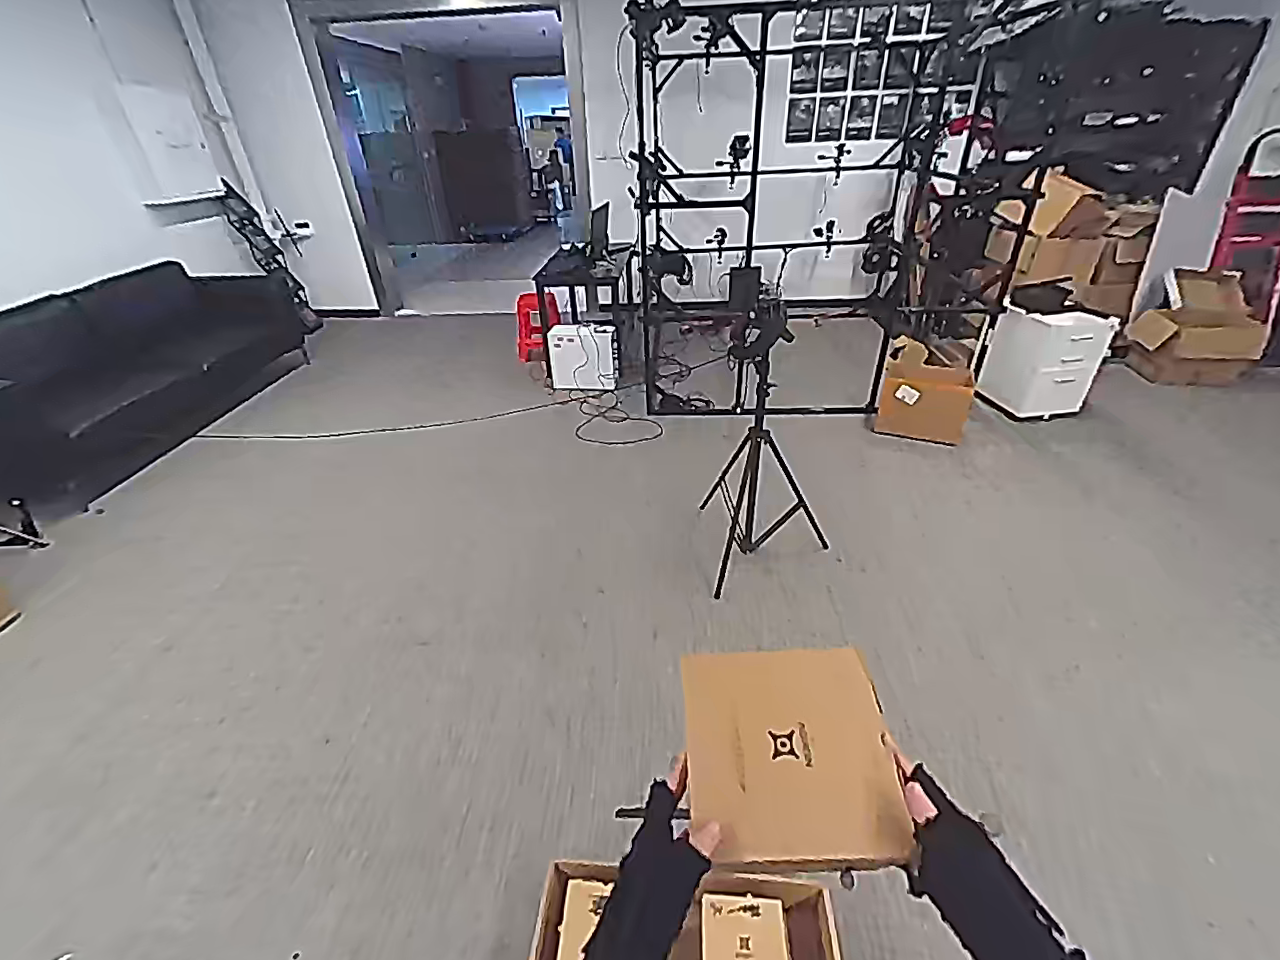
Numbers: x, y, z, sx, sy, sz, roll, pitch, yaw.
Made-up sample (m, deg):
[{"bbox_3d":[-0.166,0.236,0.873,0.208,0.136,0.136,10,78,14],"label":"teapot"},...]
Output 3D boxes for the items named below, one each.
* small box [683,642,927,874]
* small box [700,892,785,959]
[{"bbox_3d":[0.132,0.268,0.516,0.179,0.176,0.168,-4,50,3],"label":"small box"},{"bbox_3d":[0.209,0.984,1.103,0.168,0.176,0.179,-1,34,8],"label":"small box"}]
